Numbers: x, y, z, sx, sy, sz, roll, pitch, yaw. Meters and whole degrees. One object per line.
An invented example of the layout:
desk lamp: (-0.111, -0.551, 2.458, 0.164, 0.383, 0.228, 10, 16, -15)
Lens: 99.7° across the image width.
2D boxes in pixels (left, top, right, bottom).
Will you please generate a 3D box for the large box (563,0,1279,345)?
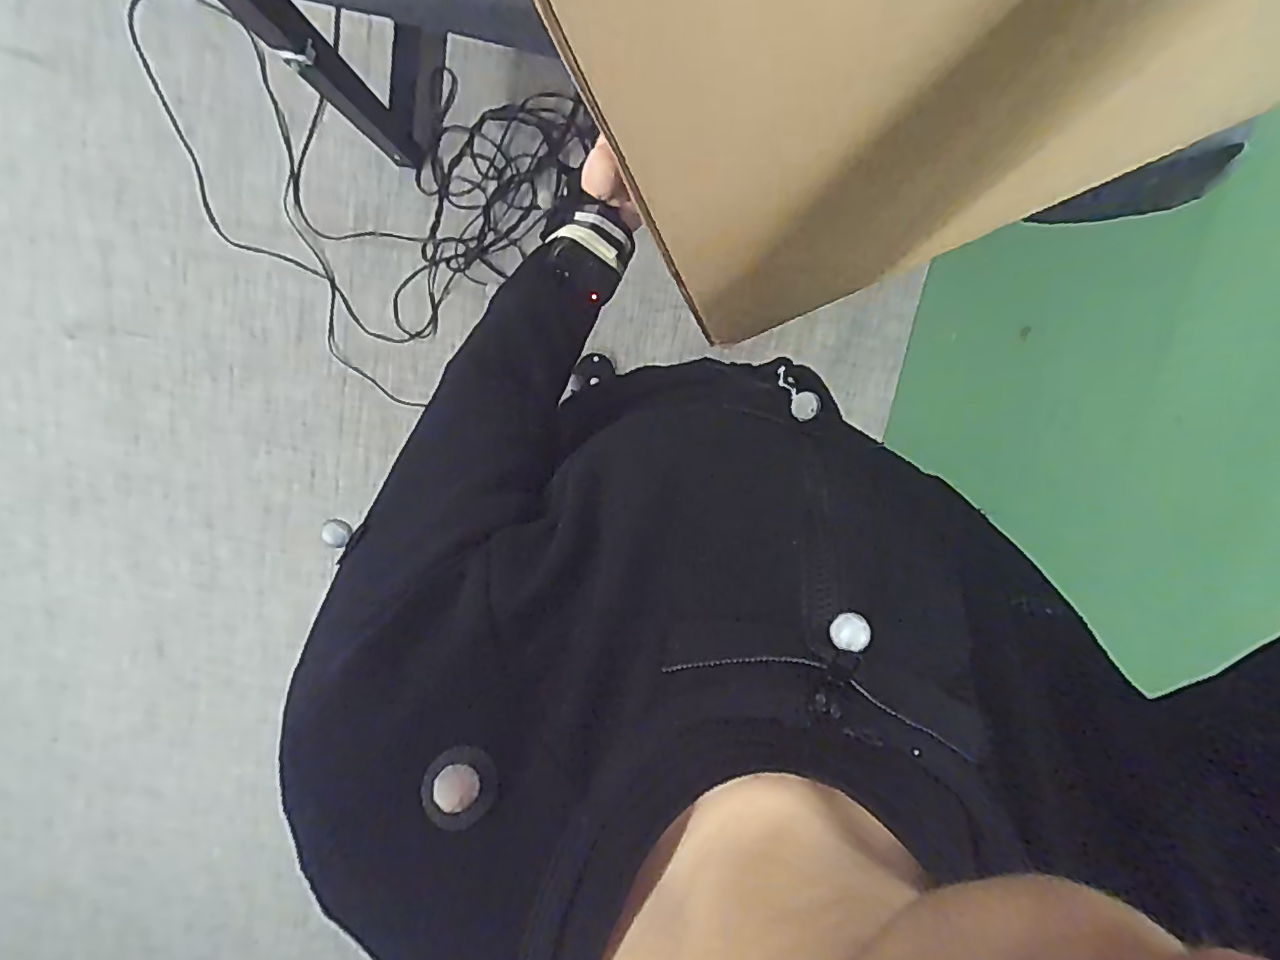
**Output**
large box: (0.147, -0.346, 0.273, 0.408, 0.320, 0.320, -24, 60, 16)
